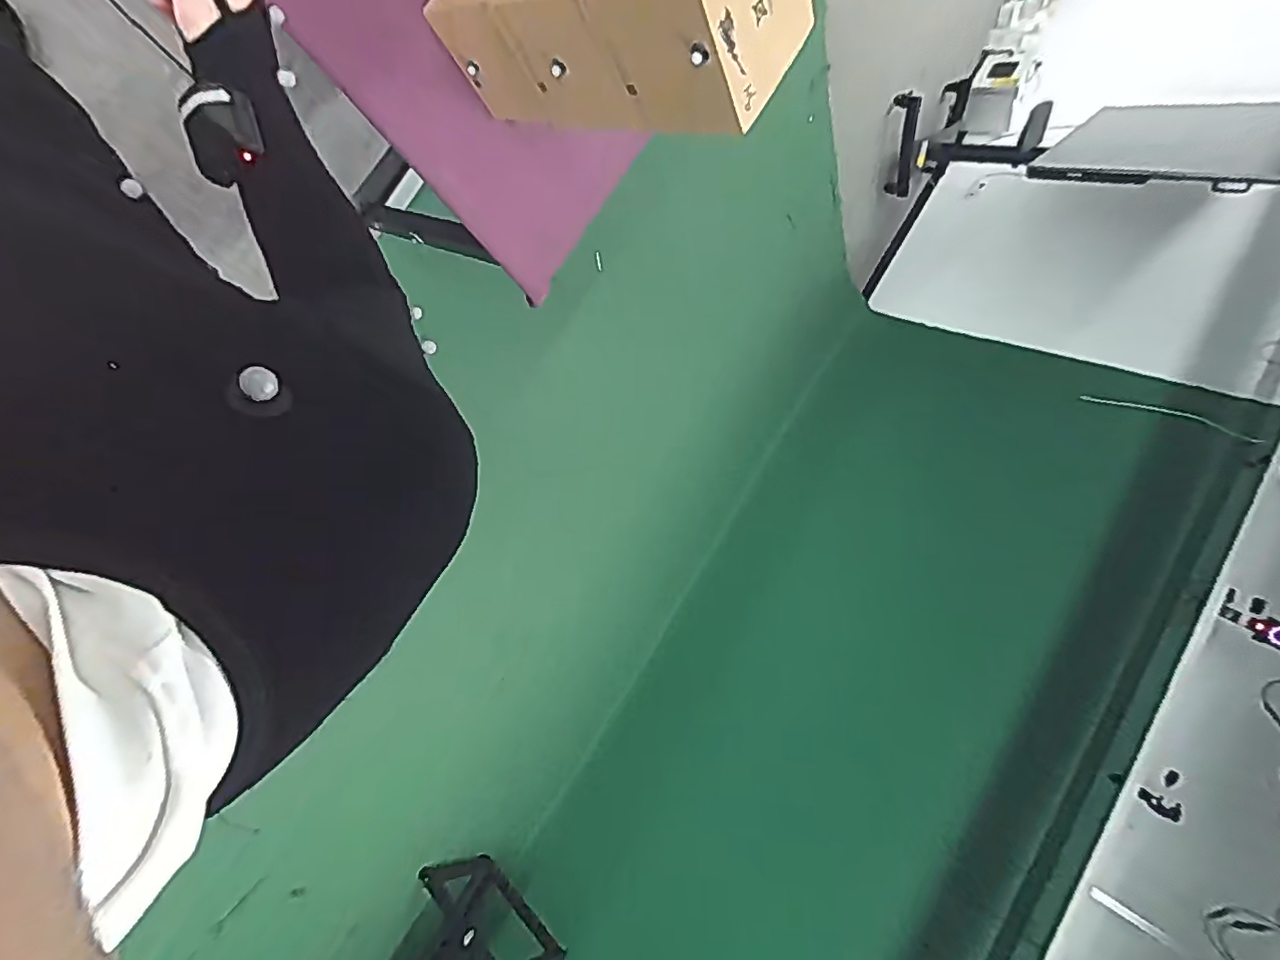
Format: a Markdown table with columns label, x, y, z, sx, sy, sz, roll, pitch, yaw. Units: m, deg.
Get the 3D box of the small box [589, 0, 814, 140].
| label | x | y | z | sx | sy | sz | roll | pitch | yaw |
| --- | --- | --- | --- | --- | --- | --- | --- | --- | --- |
| small box | 0.073 | -0.530 | 0.618 | 0.179 | 0.176 | 0.168 | -59 | 146 | -6 |
